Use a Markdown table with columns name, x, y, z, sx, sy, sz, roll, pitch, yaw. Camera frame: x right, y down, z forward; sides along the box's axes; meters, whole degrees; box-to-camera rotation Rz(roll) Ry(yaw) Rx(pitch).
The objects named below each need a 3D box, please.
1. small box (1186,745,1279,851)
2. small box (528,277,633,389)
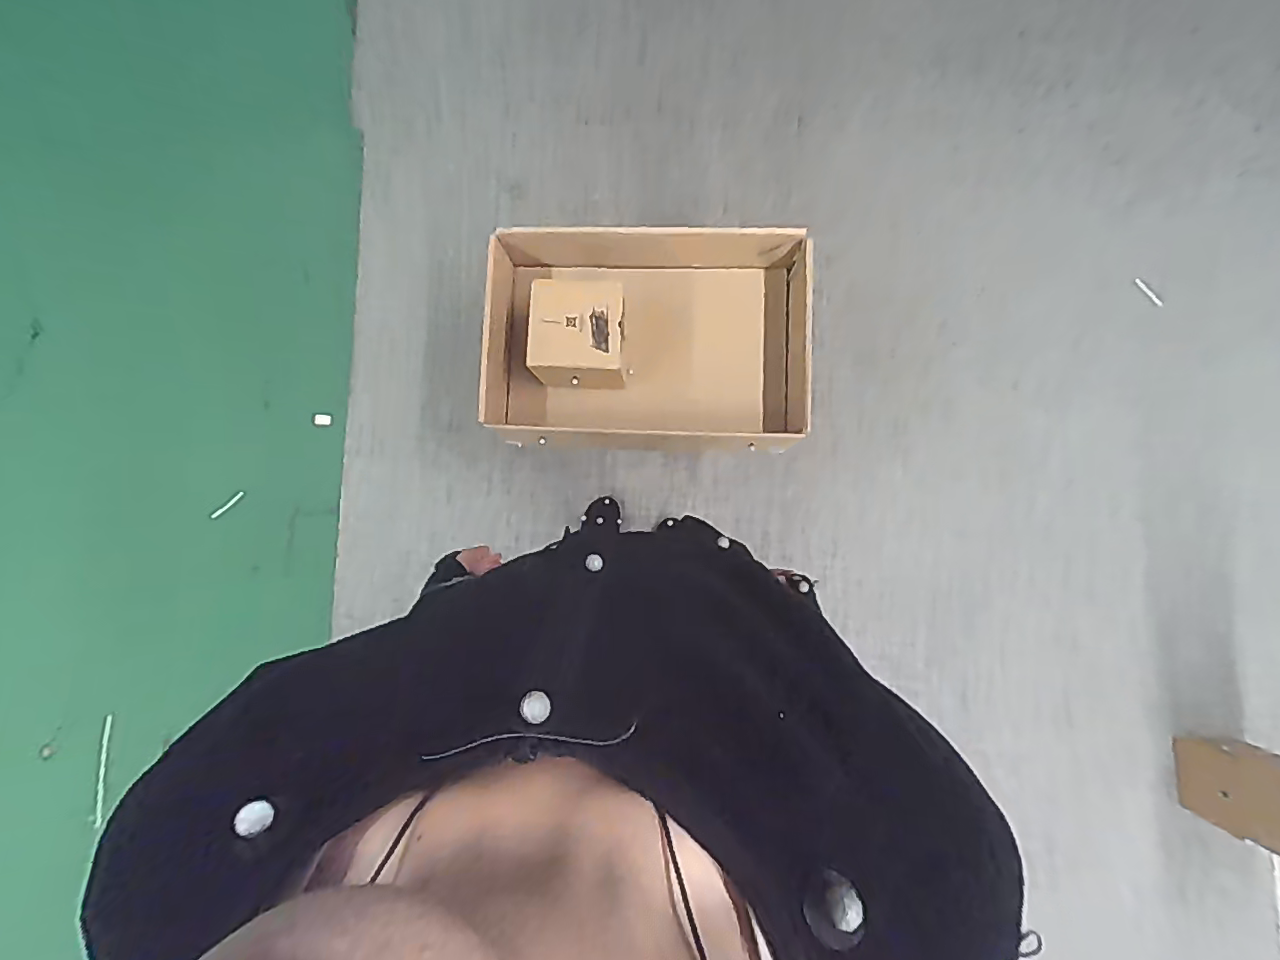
| name | x | y | z | sx | sy | sz | roll | pitch | yaw |
| --- | --- | --- | --- | --- | --- | --- | --- | --- | --- |
| small box | 1.476 | 0.756 | 1.300 | 0.168 | 0.176 | 0.179 | 0 | 85 | 4 |
| small box | -0.108 | -0.280 | 1.060 | 0.179 | 0.176 | 0.168 | 3 | 85 | 4 |
